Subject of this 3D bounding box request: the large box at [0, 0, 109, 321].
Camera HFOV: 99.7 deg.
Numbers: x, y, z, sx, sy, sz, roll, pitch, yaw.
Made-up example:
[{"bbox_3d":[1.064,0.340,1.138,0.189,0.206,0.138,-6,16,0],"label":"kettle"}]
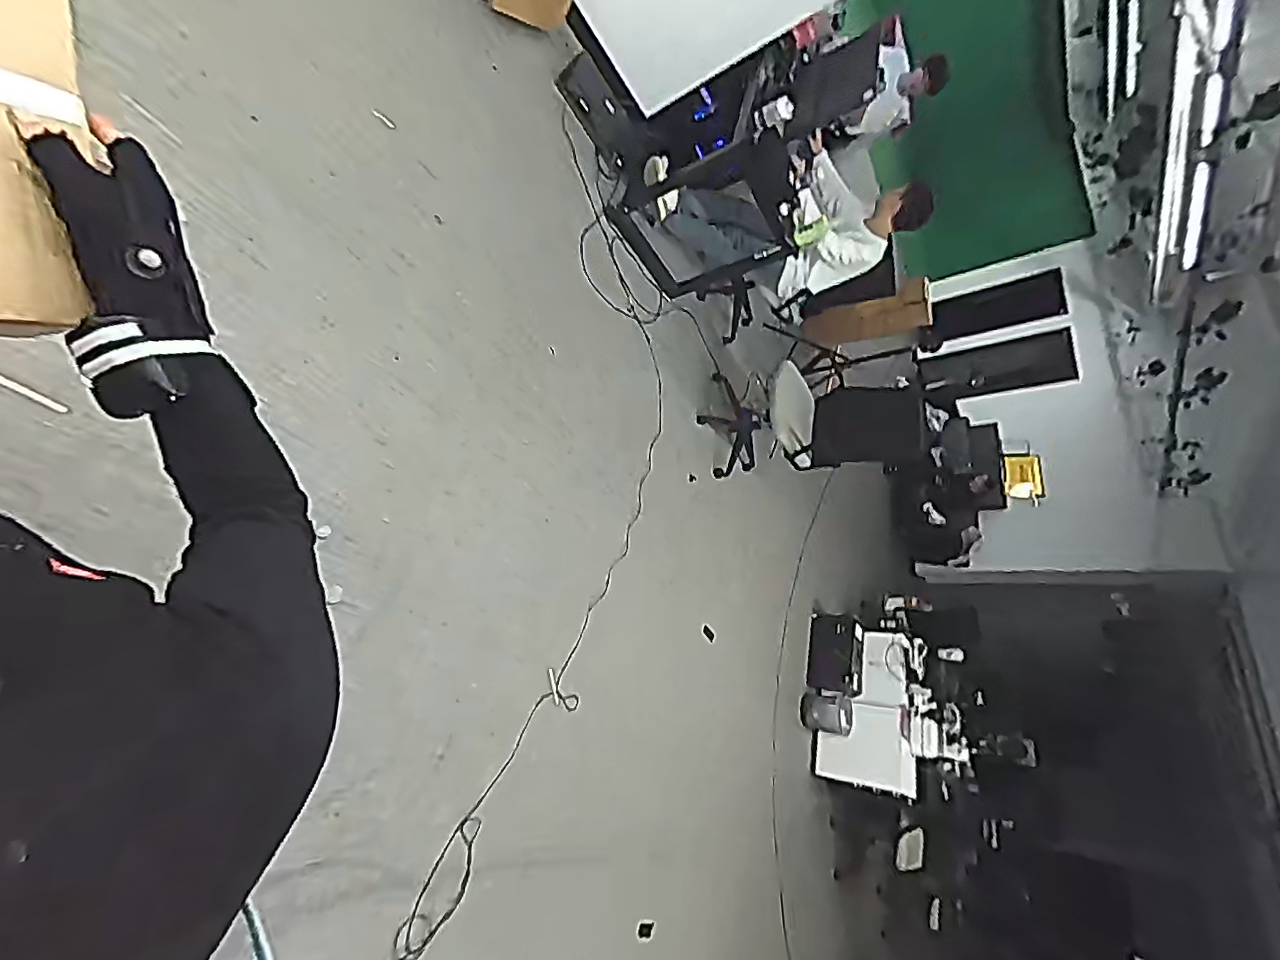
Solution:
[{"bbox_3d":[-0.662,-0.277,0.328,0.408,0.320,0.320,-14,110,-55],"label":"large box"}]
